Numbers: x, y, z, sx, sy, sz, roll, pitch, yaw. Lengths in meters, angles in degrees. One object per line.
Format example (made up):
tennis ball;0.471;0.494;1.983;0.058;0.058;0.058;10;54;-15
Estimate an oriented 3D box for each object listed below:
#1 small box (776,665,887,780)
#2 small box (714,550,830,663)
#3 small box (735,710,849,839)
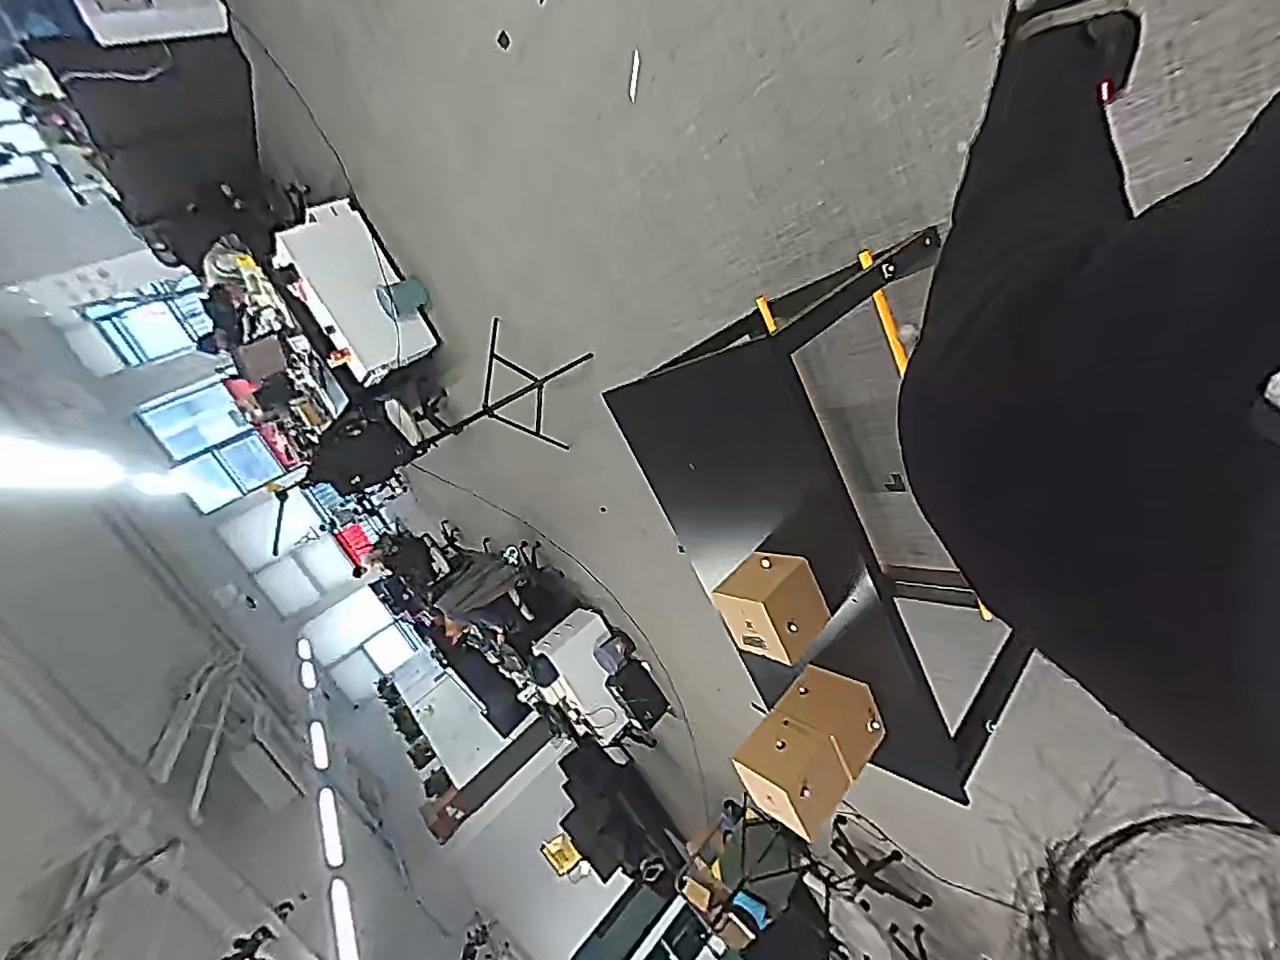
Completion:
small box;0.481;0.594;1.353;0.179;0.176;0.168;0;123;55
small box;0.312;0.287;1.262;0.168;0.176;0.179;-2;119;57
small box;0.363;0.685;1.281;0.168;0.176;0.179;2;124;56
